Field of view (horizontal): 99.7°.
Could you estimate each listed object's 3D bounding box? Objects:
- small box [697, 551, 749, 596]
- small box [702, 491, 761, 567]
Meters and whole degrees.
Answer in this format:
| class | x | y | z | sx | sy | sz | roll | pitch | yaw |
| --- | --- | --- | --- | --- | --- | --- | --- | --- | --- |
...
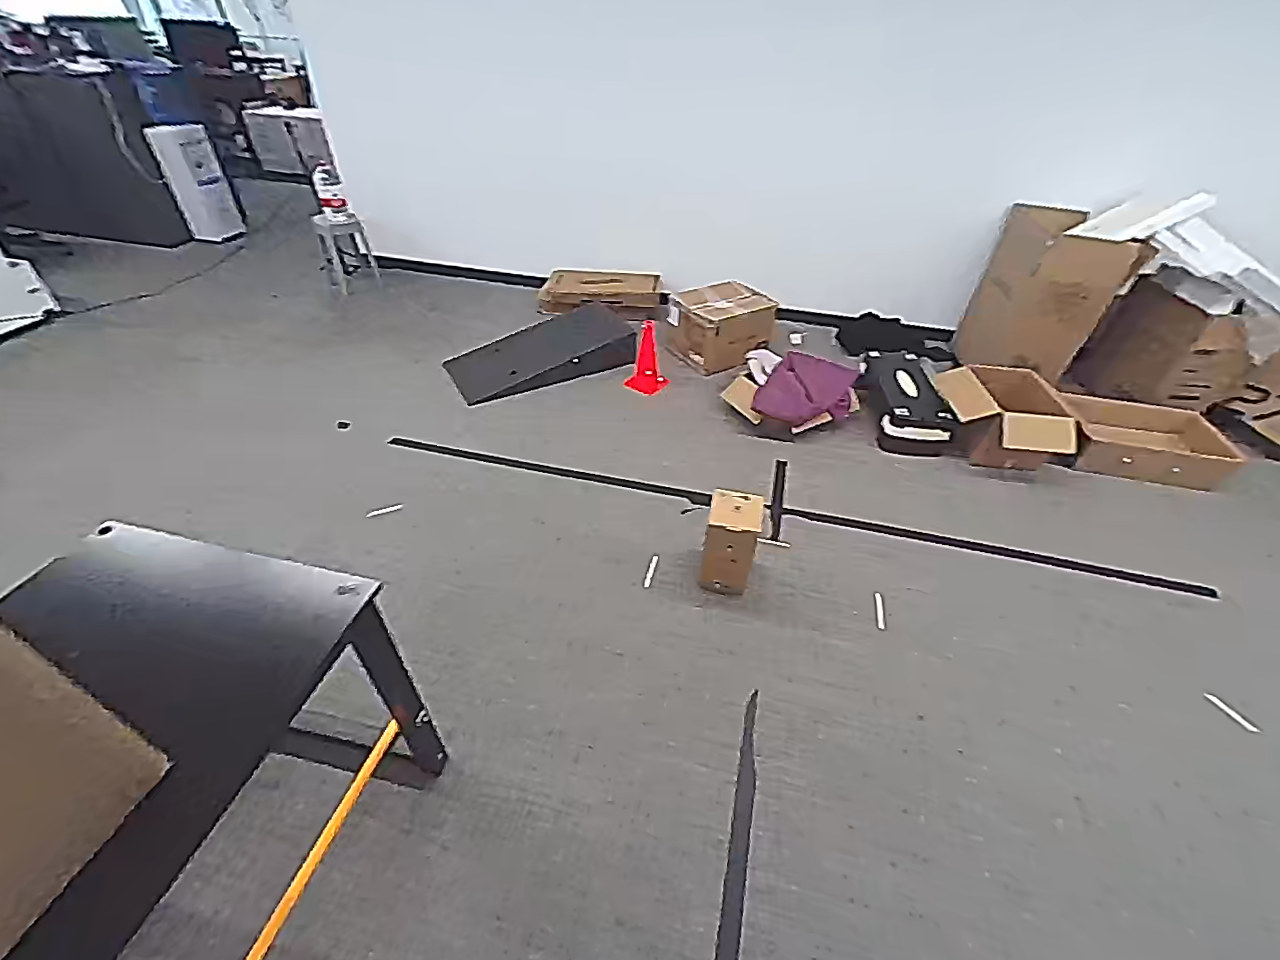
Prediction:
| class | x | y | z | sx | sy | sz | roll | pitch | yaw |
| --- | --- | --- | --- | --- | --- | --- | --- | --- | --- |
| small box | 0.298 | 0.279 | 1.910 | 0.168 | 0.176 | 0.179 | 9 | 42 | 9 |
| small box | 0.301 | 0.165 | 1.790 | 0.168 | 0.176 | 0.179 | 10 | 41 | 10 |
